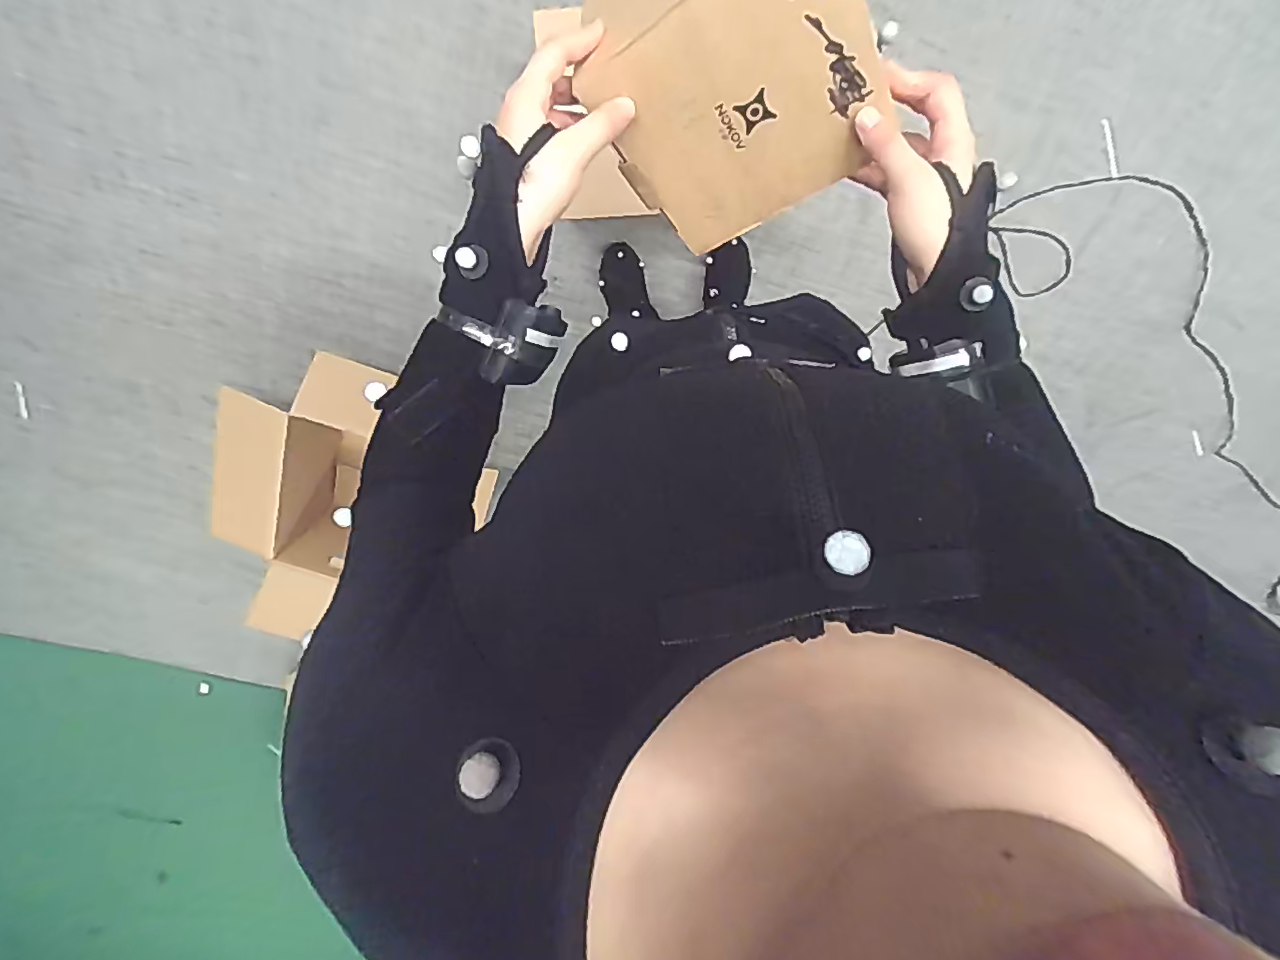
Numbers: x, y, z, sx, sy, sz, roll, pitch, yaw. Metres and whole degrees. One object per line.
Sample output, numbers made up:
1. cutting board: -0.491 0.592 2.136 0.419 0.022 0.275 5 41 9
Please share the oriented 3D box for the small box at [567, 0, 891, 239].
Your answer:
1. small box: 0.070 -0.335 0.414 0.179 0.176 0.168 -17 146 32
